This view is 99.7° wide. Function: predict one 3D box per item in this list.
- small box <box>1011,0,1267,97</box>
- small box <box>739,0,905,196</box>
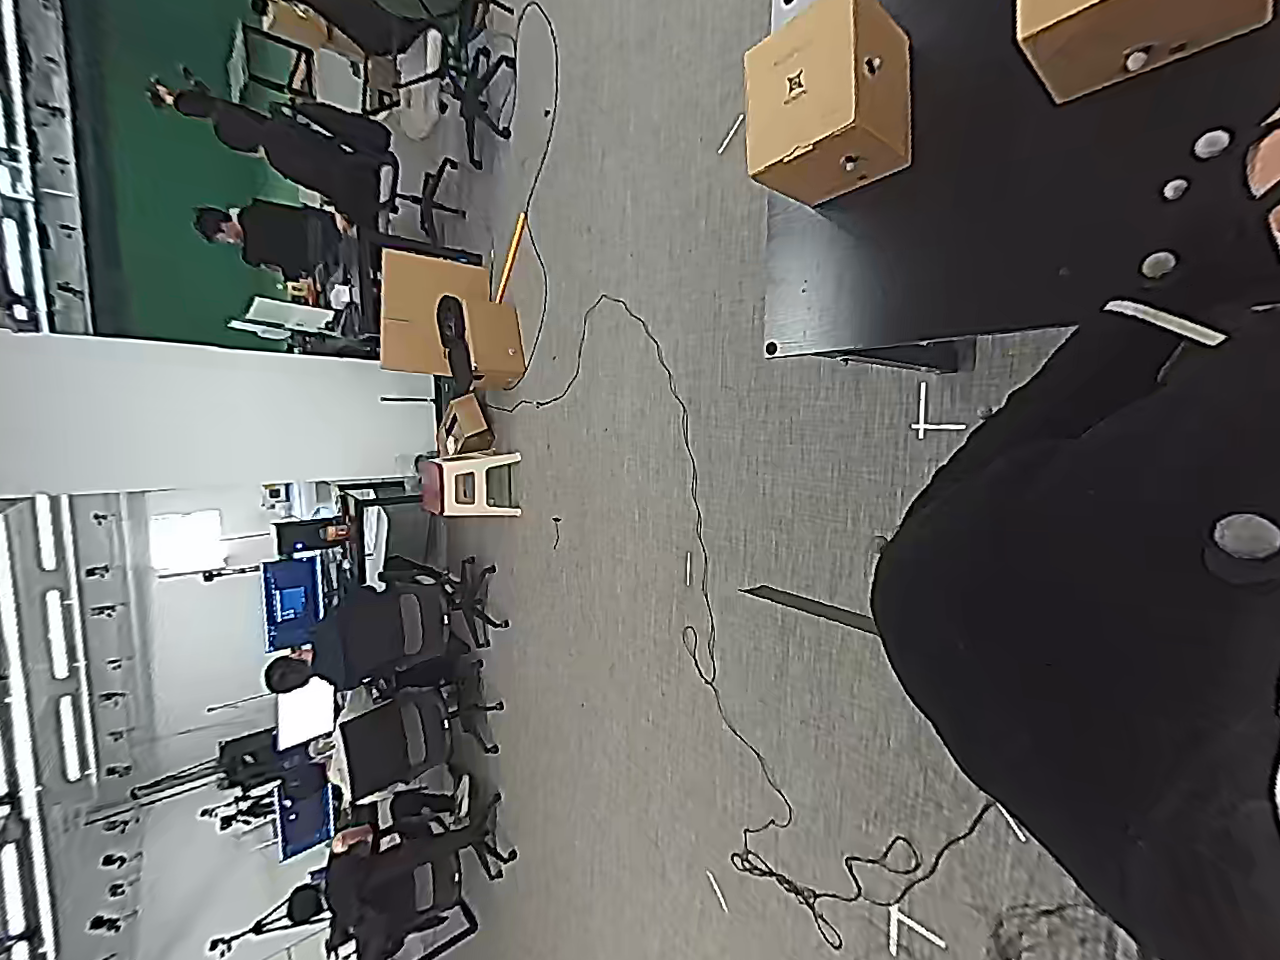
[{"bbox_3d":[0.474,-0.515,0.509,0.168,0.176,0.179,5,99,49],"label":"small box"},{"bbox_3d":[0.258,-0.525,0.762,0.168,0.176,0.179,1,94,48],"label":"small box"}]
